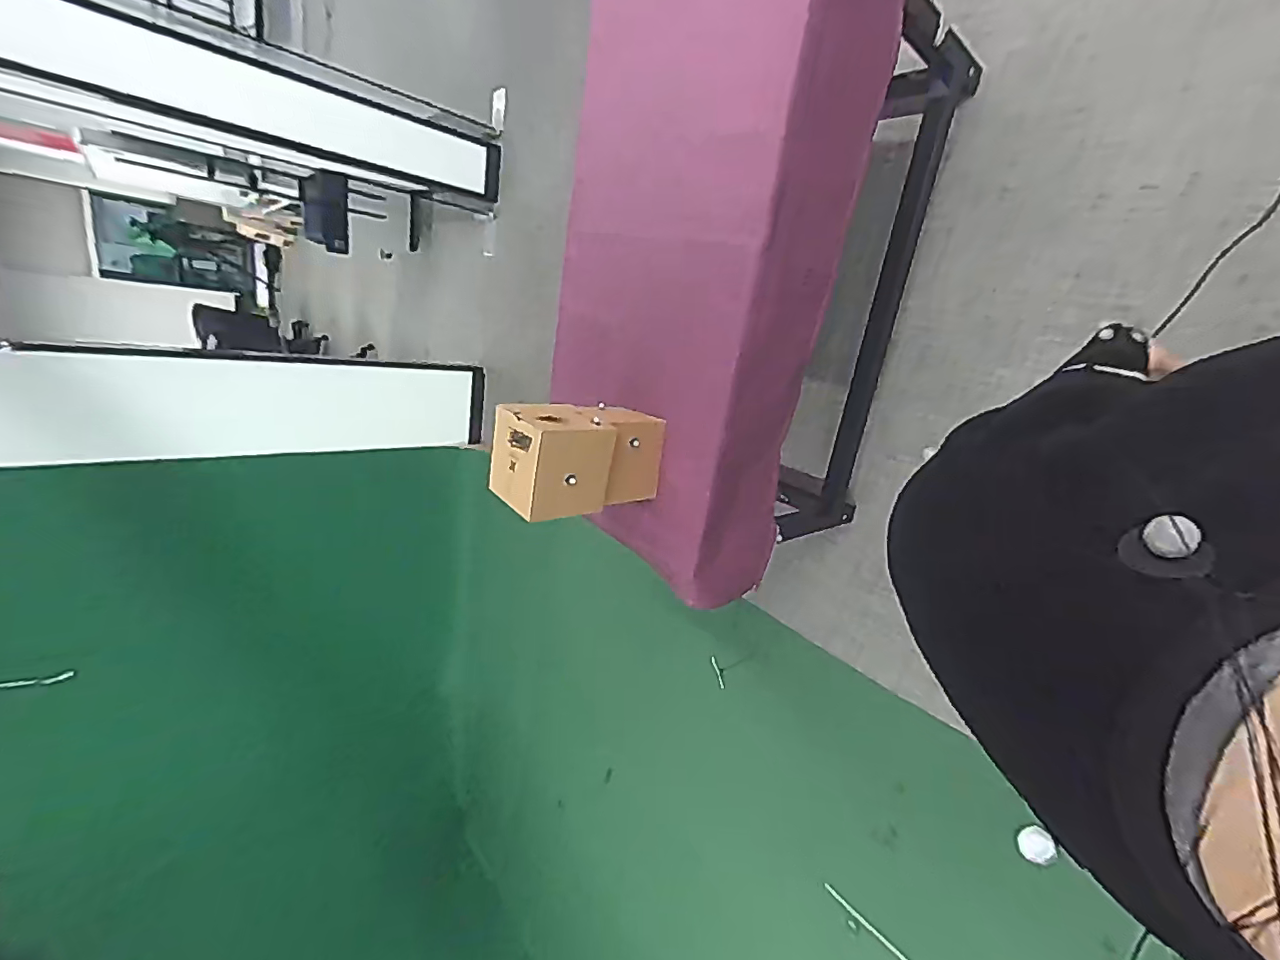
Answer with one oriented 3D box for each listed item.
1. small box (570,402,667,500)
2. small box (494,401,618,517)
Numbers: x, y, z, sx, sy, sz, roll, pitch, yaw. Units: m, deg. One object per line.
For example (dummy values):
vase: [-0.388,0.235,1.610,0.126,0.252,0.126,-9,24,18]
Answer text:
small box: [-0.060,-0.069,1.185,0.168,0.176,0.179,24,113,44]
small box: [-0.163,-0.050,1.055,0.168,0.176,0.179,31,118,42]
